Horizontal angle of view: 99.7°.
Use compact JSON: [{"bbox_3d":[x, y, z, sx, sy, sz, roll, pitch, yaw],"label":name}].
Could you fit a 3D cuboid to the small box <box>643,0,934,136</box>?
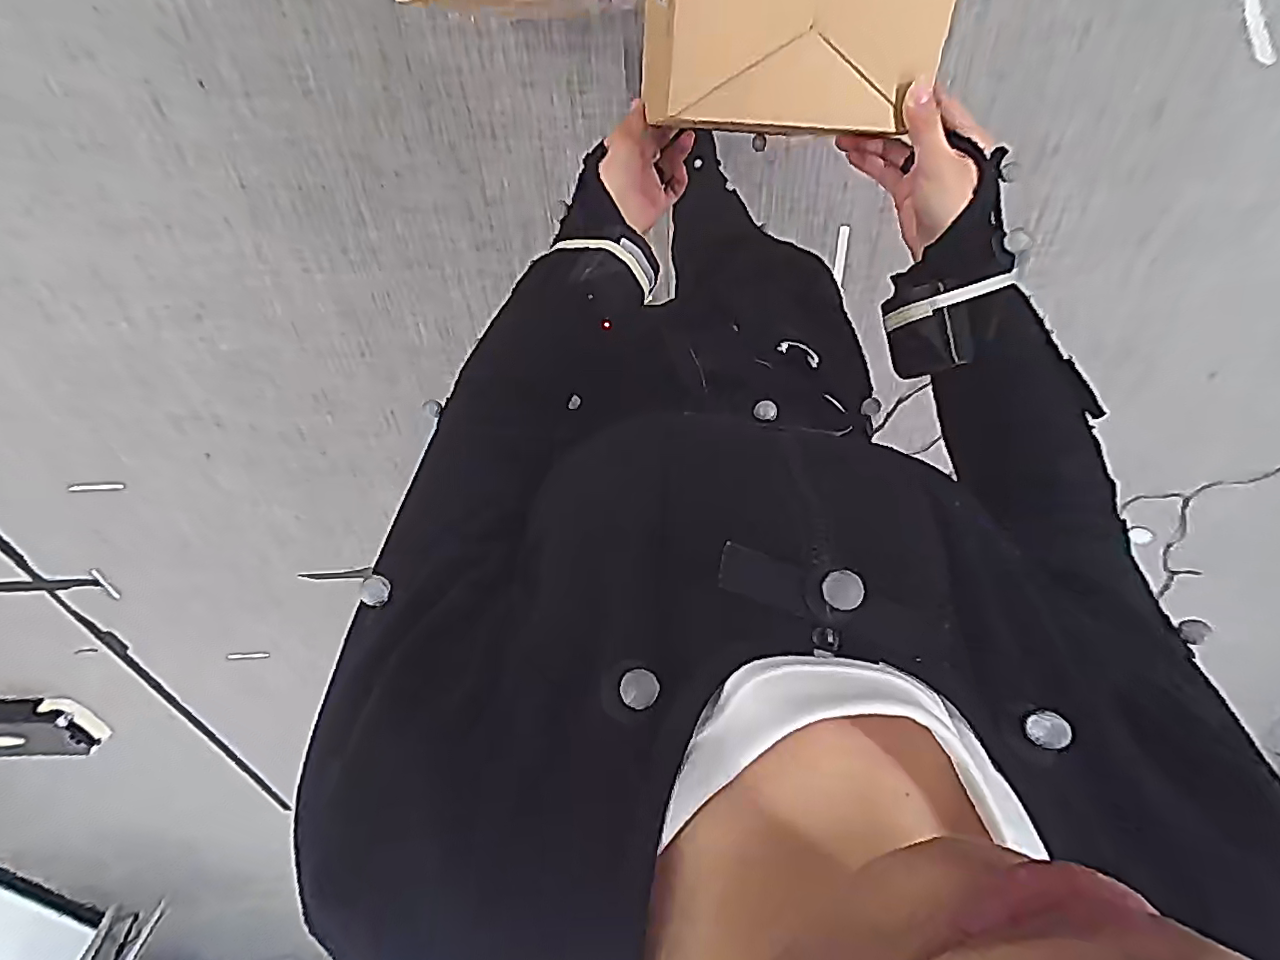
[{"bbox_3d":[0.100,-0.351,0.396,0.179,0.176,0.168,-2,121,-7],"label":"small box"}]
